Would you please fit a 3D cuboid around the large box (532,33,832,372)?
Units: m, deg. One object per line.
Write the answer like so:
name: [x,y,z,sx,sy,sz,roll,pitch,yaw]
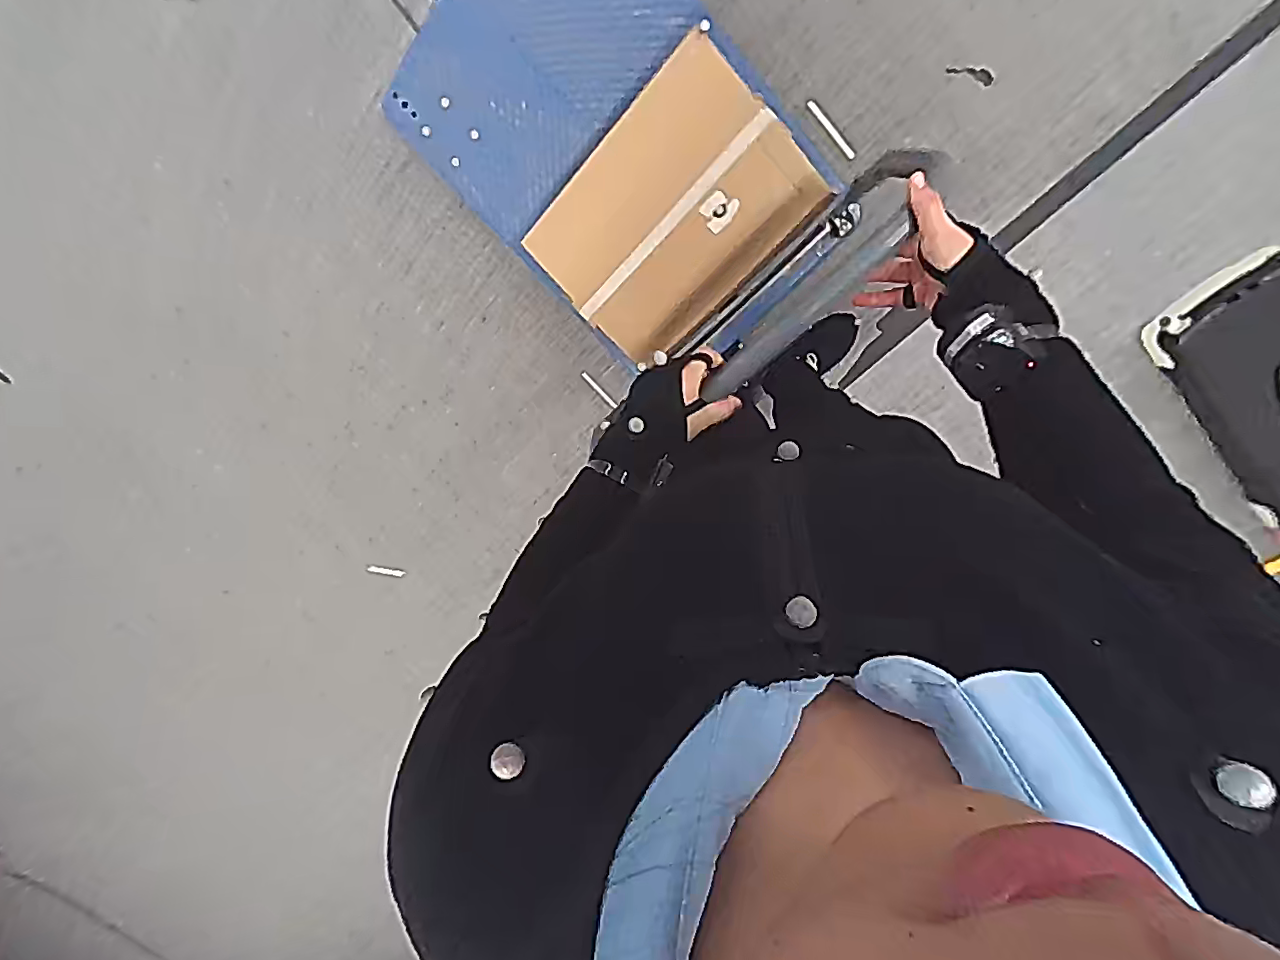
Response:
large box: [0.076,-0.469,1.007,0.408,0.320,0.320,-41,101,21]
